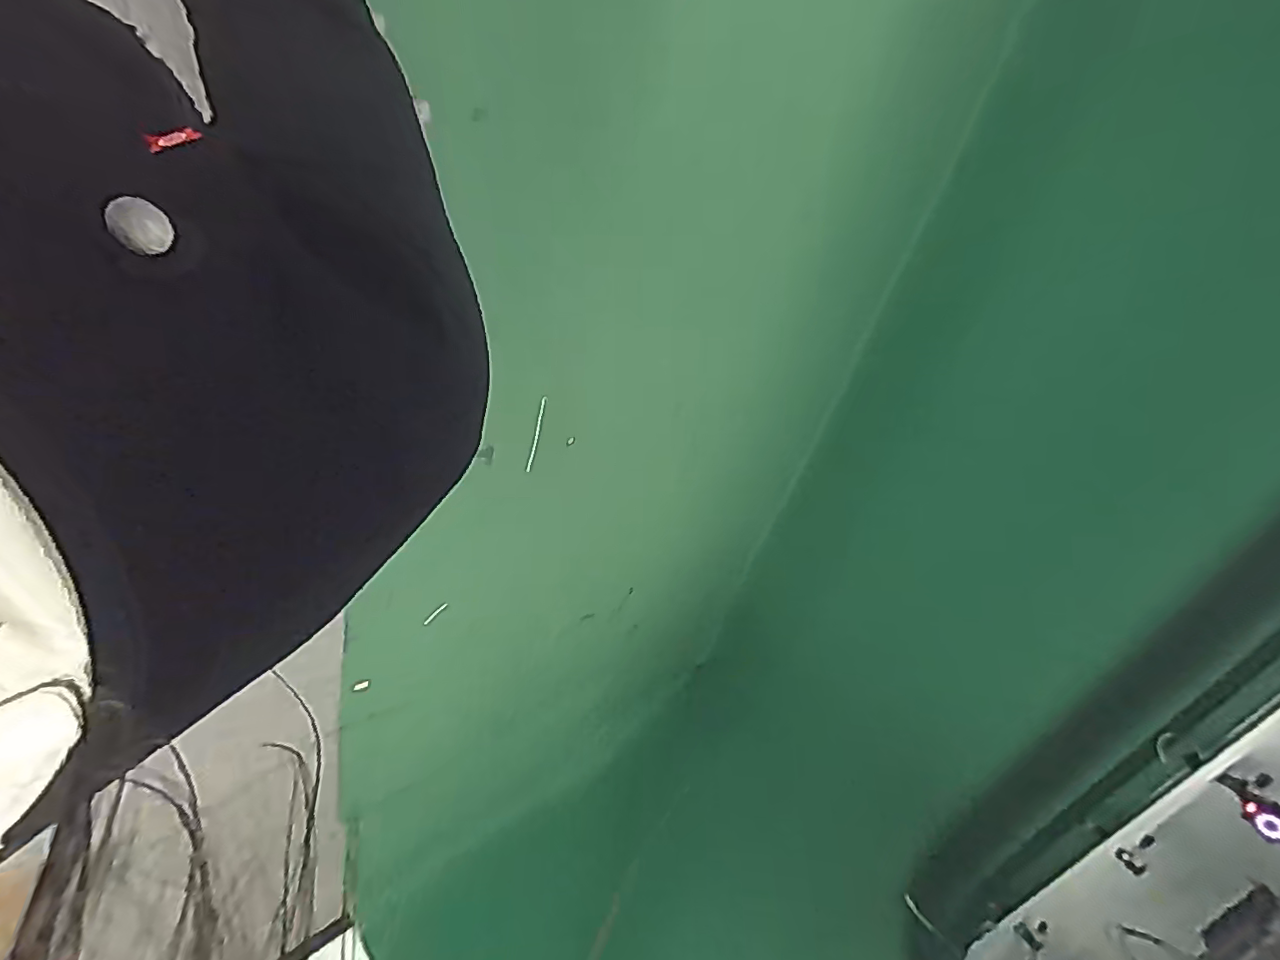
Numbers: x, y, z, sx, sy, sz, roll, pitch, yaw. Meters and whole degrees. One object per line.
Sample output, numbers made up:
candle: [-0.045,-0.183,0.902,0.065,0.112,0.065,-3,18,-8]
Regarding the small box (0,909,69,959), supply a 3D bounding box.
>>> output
small box: [-1.640,1.301,1.426,0.179,0.176,0.168,-9,129,-47]
